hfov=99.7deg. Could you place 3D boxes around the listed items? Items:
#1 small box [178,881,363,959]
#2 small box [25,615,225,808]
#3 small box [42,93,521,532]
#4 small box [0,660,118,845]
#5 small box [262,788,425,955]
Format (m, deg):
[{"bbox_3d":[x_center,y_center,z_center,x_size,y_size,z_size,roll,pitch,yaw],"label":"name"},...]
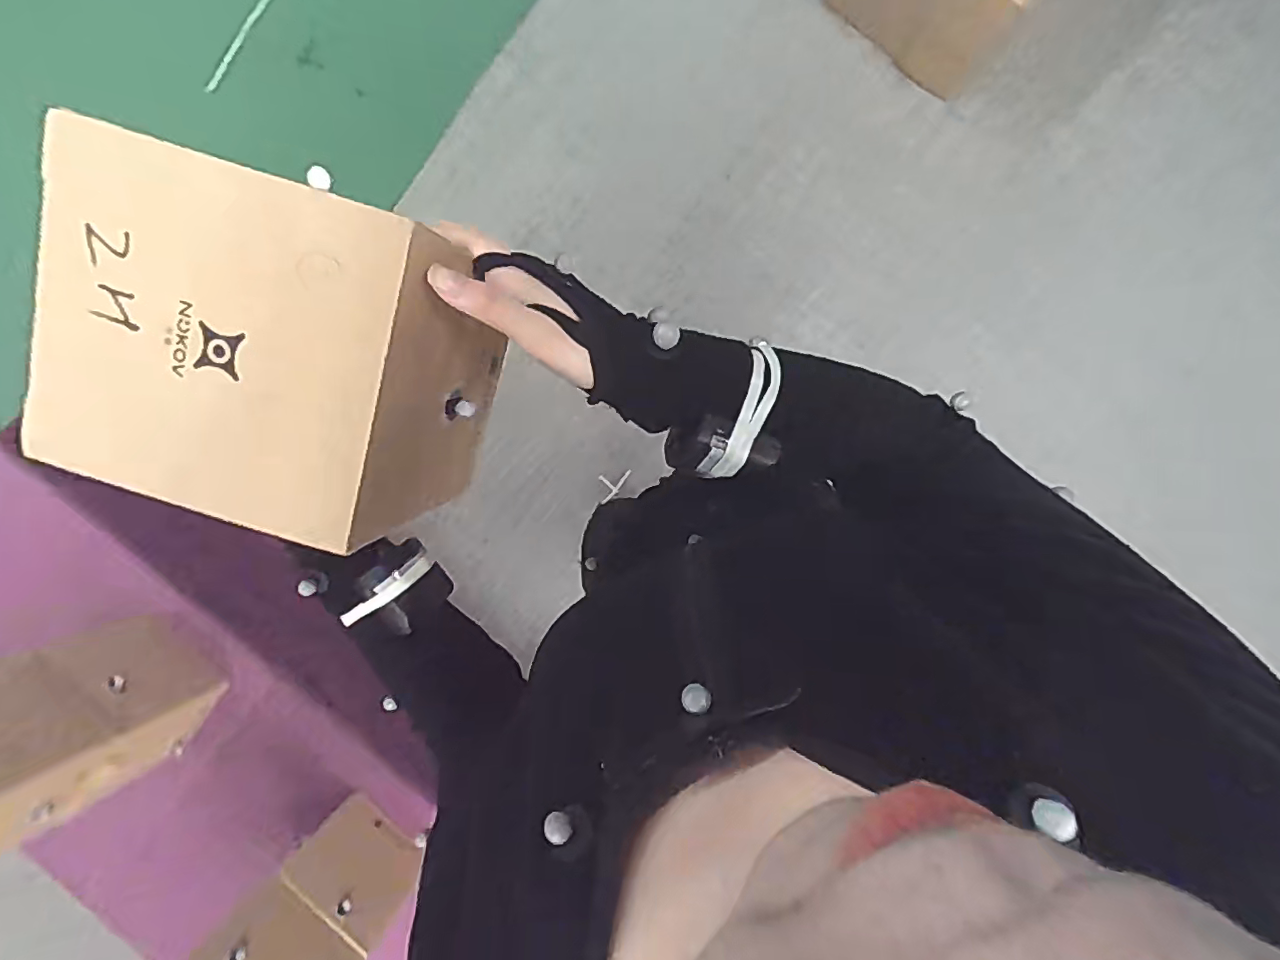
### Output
[{"bbox_3d":[-0.480,0.629,0.640,0.179,0.176,0.168,41,99,2],"label":"small box"},{"bbox_3d":[-0.792,0.334,0.819,0.179,0.176,0.168,40,99,3],"label":"small box"},{"bbox_3d":[-0.194,-0.089,0.340,0.179,0.176,0.168,20,100,2],"label":"small box"},{"bbox_3d":[-0.816,0.347,0.658,0.179,0.176,0.168,39,99,2],"label":"small box"},{"bbox_3d":[-0.458,0.613,0.801,0.168,0.176,0.179,40,100,2],"label":"small box"}]
